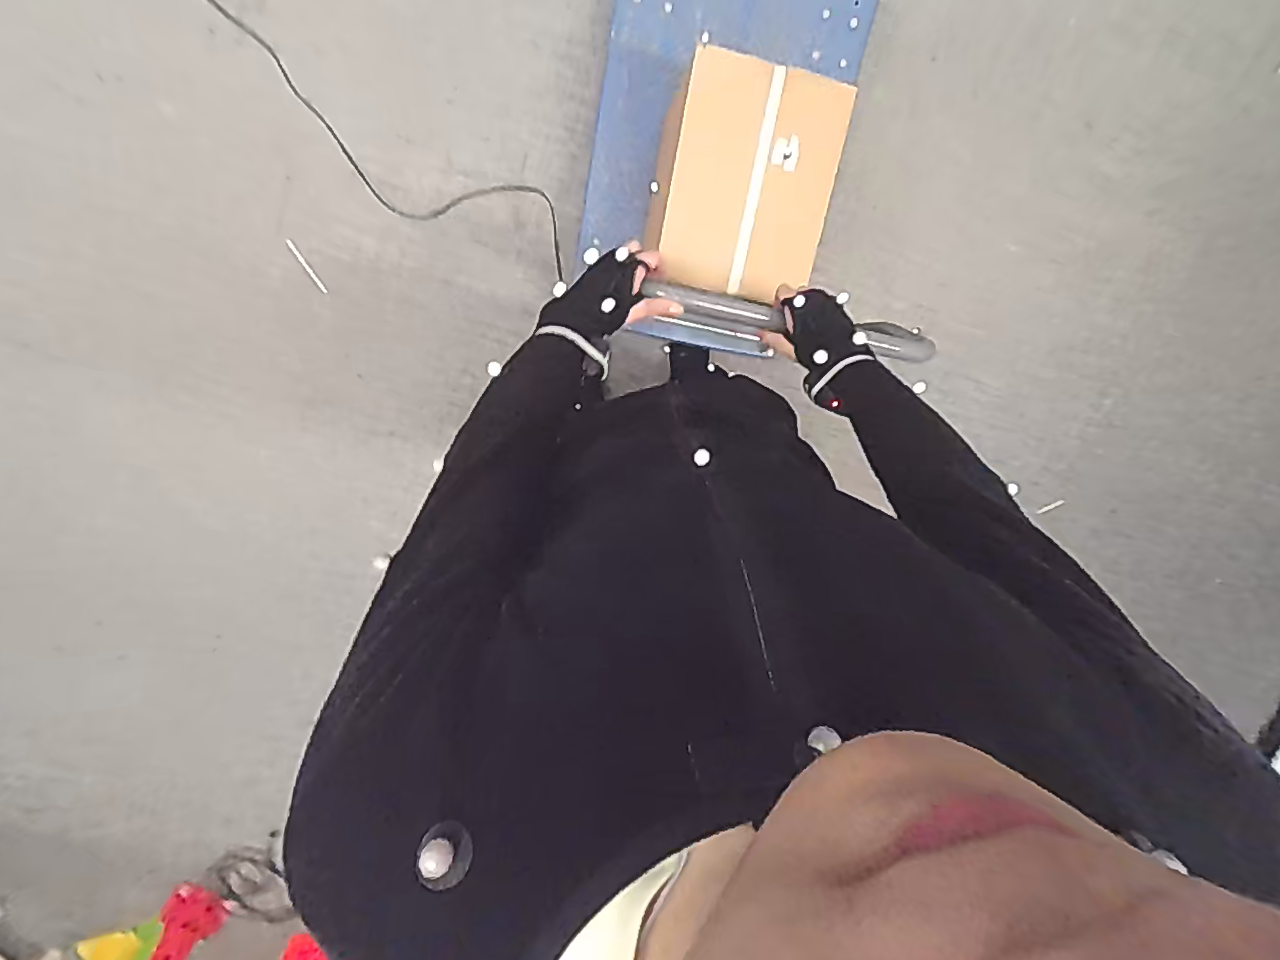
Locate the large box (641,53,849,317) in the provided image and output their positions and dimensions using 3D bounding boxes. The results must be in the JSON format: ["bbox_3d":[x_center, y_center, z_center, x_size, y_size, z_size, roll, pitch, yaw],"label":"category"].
[{"bbox_3d":[0.194,-0.587,1.172,0.320,0.320,0.408,8,104,-10],"label":"large box"}]
